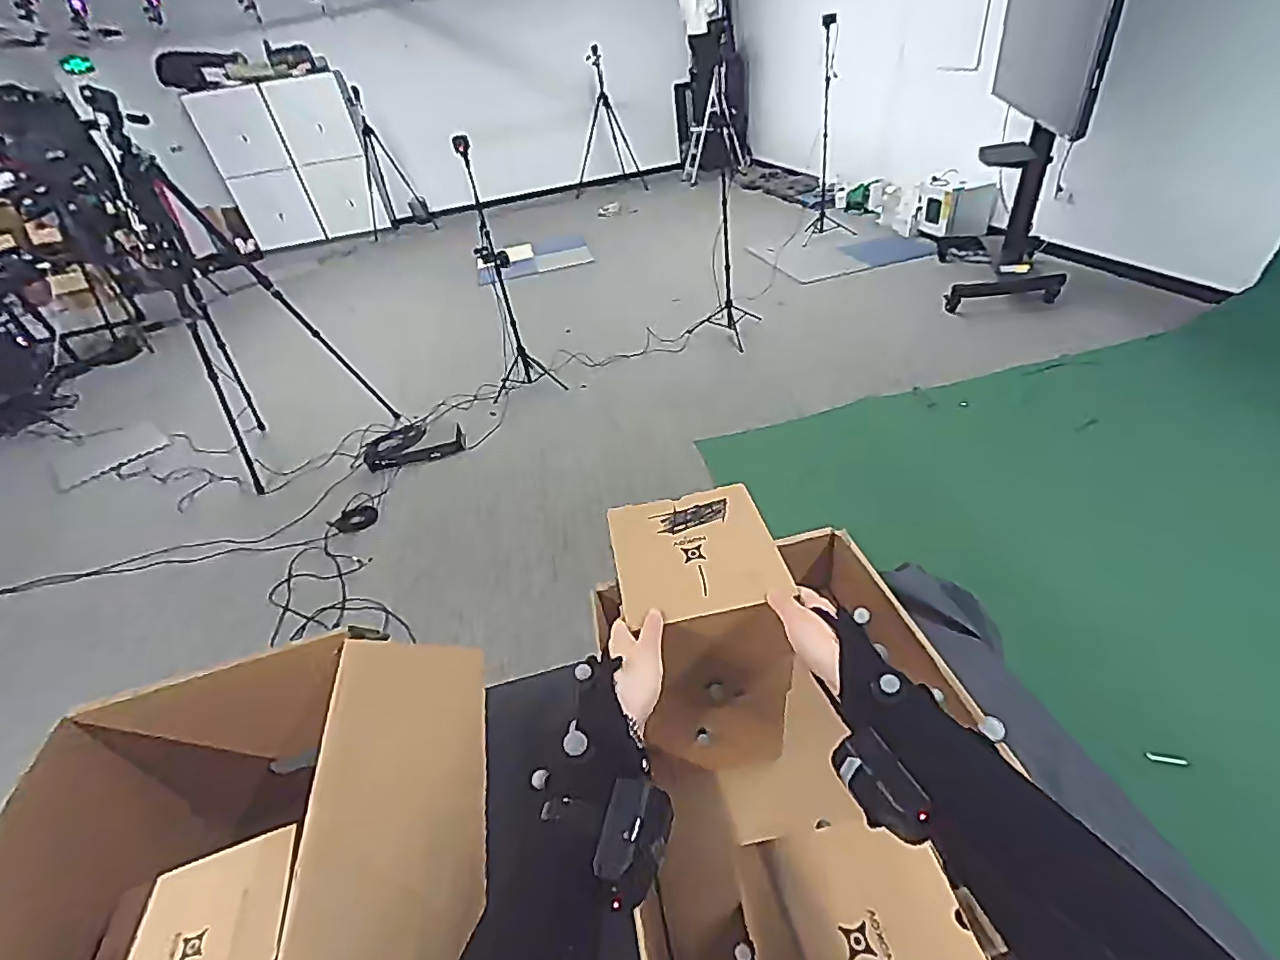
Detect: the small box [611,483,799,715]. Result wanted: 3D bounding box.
[{"bbox_3d":[0.066,0.133,0.615,0.168,0.176,0.179,-11,40,-2],"label":"small box"}]
